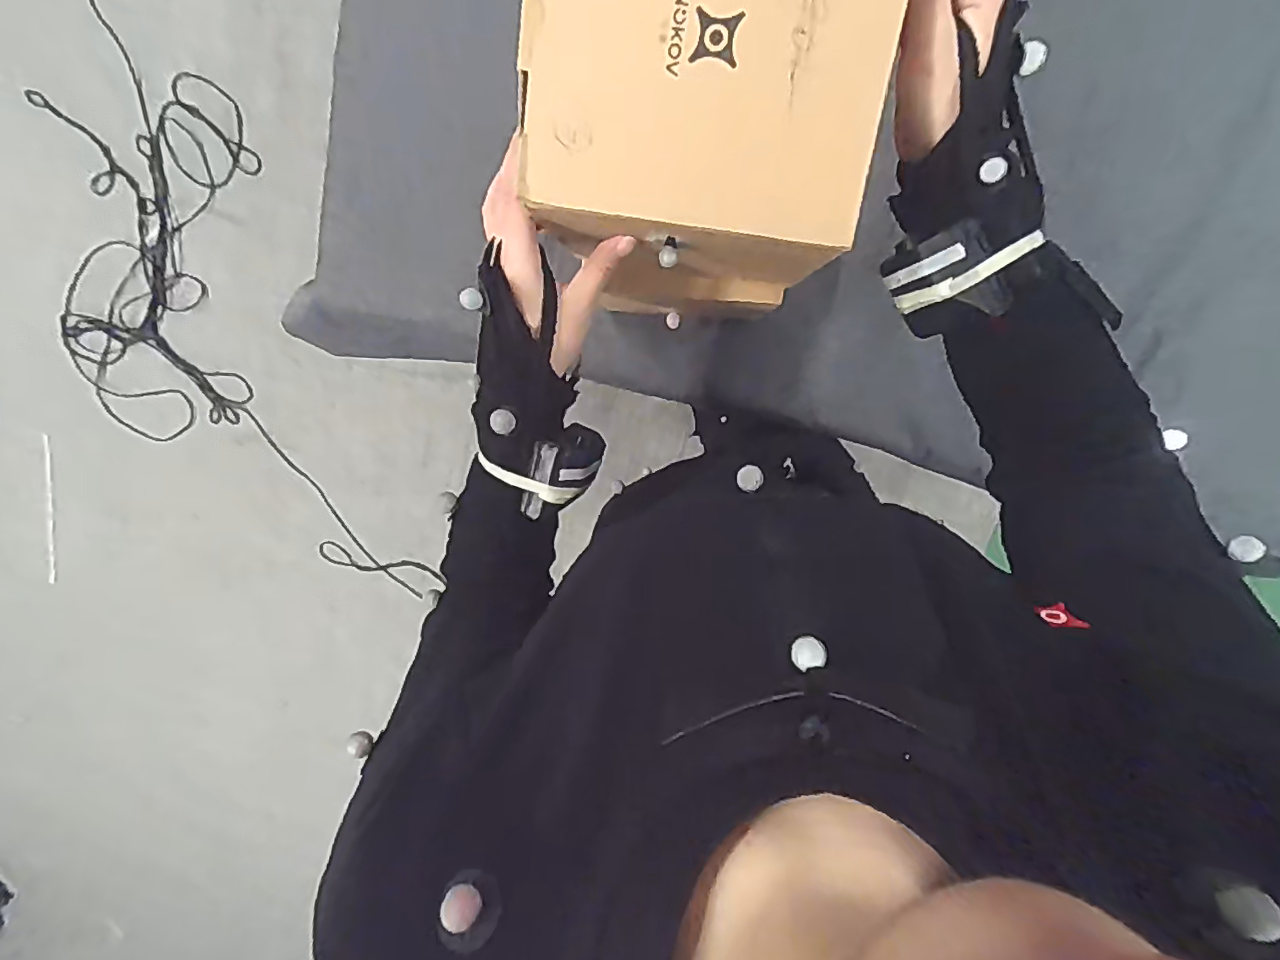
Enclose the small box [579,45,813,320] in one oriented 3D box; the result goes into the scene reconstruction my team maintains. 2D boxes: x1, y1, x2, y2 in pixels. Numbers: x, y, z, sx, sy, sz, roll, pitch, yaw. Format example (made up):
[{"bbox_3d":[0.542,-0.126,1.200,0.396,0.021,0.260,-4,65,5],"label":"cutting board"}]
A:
[{"bbox_3d":[0.045,-0.247,0.492,0.168,0.176,0.179,6,104,4],"label":"small box"}]
